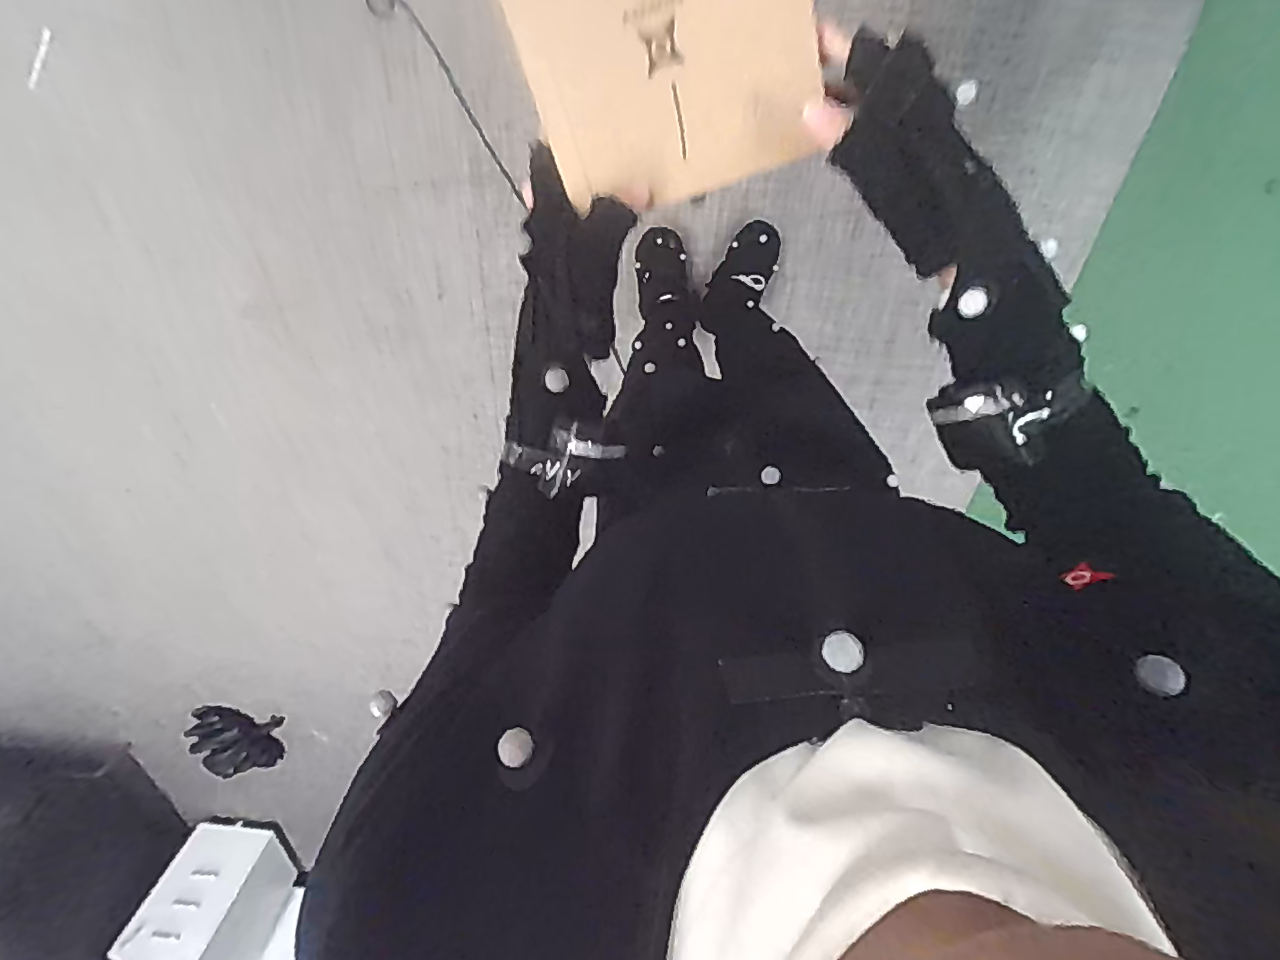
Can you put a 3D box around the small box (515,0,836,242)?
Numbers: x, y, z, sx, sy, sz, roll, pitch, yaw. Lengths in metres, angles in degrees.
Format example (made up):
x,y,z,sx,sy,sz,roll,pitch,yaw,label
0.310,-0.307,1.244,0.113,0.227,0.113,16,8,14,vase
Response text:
x,y,z,sx,sy,sz,roll,pitch,yaw,label
0.029,-0.291,0.383,0.168,0.176,0.179,-12,119,16,small box
